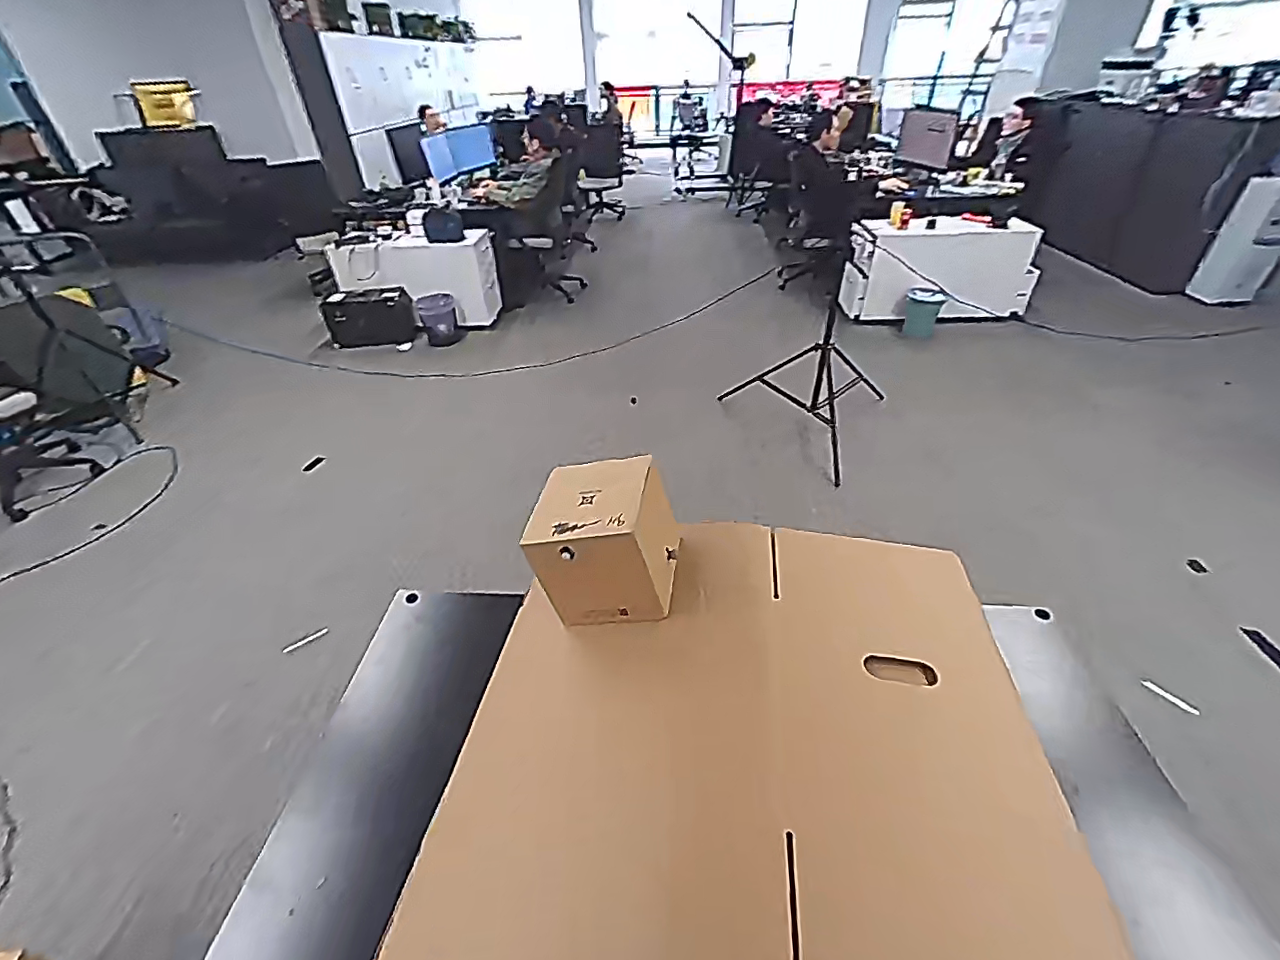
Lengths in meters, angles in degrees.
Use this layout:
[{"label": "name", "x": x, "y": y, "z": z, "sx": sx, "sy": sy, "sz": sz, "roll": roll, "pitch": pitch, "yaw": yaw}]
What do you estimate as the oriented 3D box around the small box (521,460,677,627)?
[{"label": "small box", "x": -0.047, "y": 0.095, "z": 0.804, "sx": 0.168, "sy": 0.176, "sz": 0.179, "roll": -9, "pitch": 34, "yaw": 17}]
